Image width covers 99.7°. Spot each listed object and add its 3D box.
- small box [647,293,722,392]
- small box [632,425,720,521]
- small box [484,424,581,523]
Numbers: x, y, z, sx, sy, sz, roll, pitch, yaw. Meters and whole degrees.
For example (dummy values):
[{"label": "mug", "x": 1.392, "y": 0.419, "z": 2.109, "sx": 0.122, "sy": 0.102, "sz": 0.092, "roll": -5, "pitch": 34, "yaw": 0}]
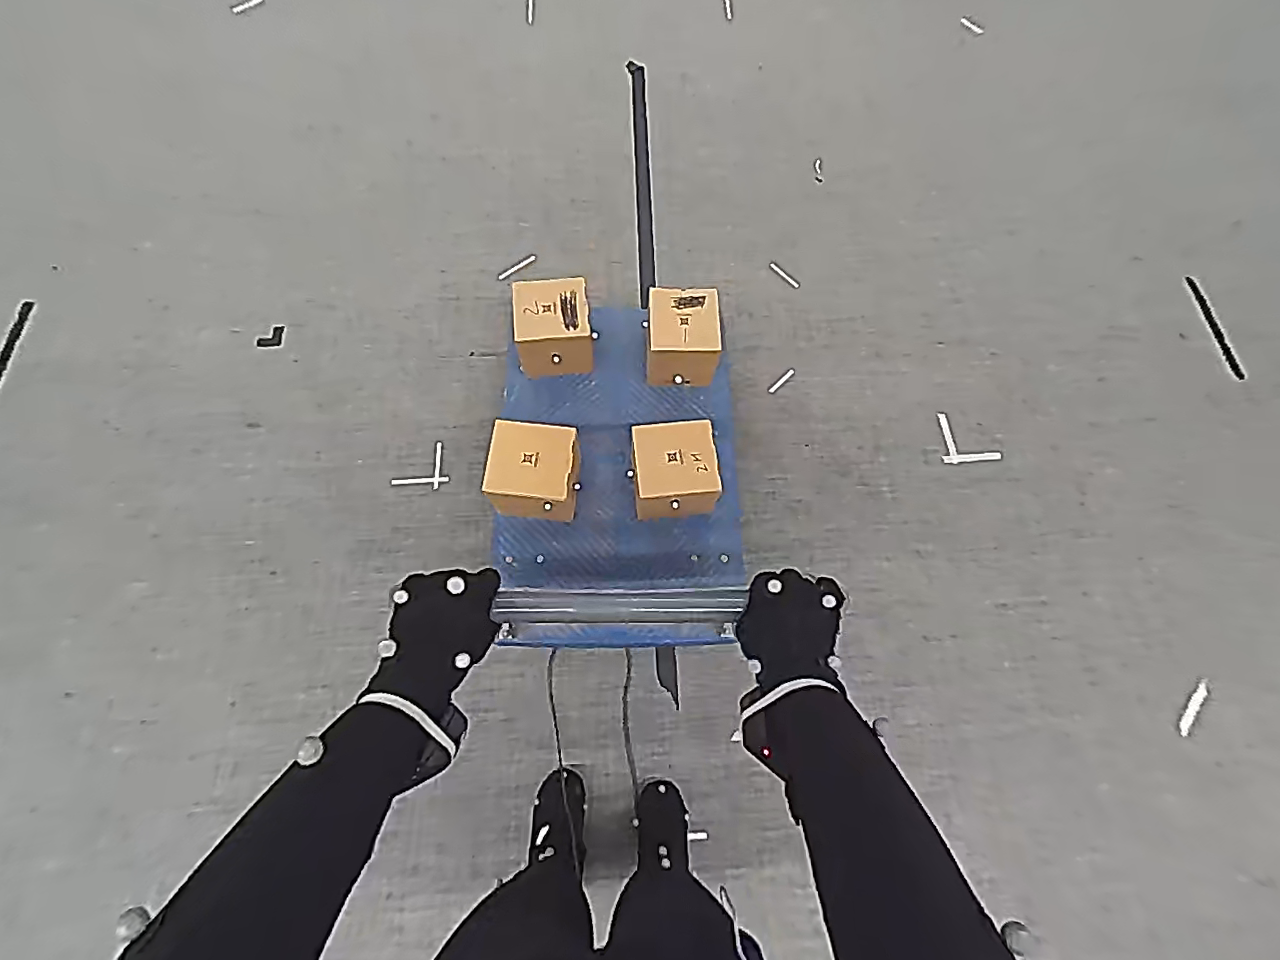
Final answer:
[{"label": "small box", "x": 0.104, "y": -0.339, "z": 1.348, "sx": 0.168, "sy": 0.176, "sz": 0.179, "roll": 0, "pitch": 71, "yaw": -2}, {"label": "small box", "x": 0.074, "y": -0.010, "z": 1.226, "sx": 0.179, "sy": 0.176, "sz": 0.168, "roll": -5, "pitch": 70, "yaw": -4}, {"label": "small box", "x": -0.232, "y": -0.009, "z": 1.215, "sx": 0.179, "sy": 0.176, "sz": 0.168, "roll": 6, "pitch": 69, "yaw": -2}]
